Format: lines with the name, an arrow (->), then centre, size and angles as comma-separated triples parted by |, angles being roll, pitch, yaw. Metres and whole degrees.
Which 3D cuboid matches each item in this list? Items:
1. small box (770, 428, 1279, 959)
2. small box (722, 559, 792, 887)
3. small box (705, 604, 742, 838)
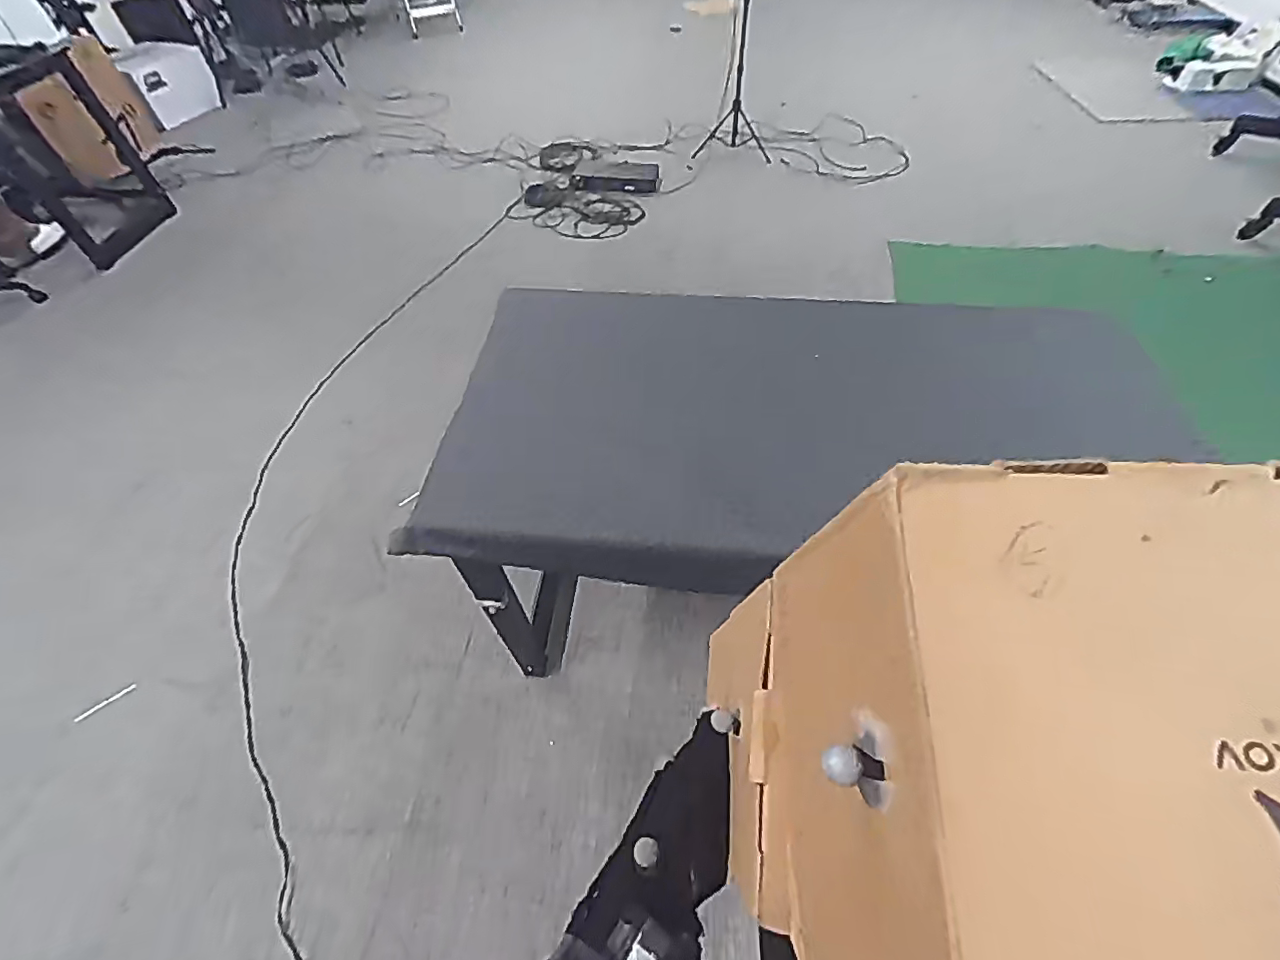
small box -> 0.149, 0.096, 0.207 | 0.168, 0.176, 0.179 | 1, 70, 3
small box -> 0.150, 0.158, 0.361 | 0.179, 0.176, 0.168 | 4, 68, 2
small box -> 0.153, 0.224, 0.509 | 0.168, 0.176, 0.179 | 4, 68, 3
